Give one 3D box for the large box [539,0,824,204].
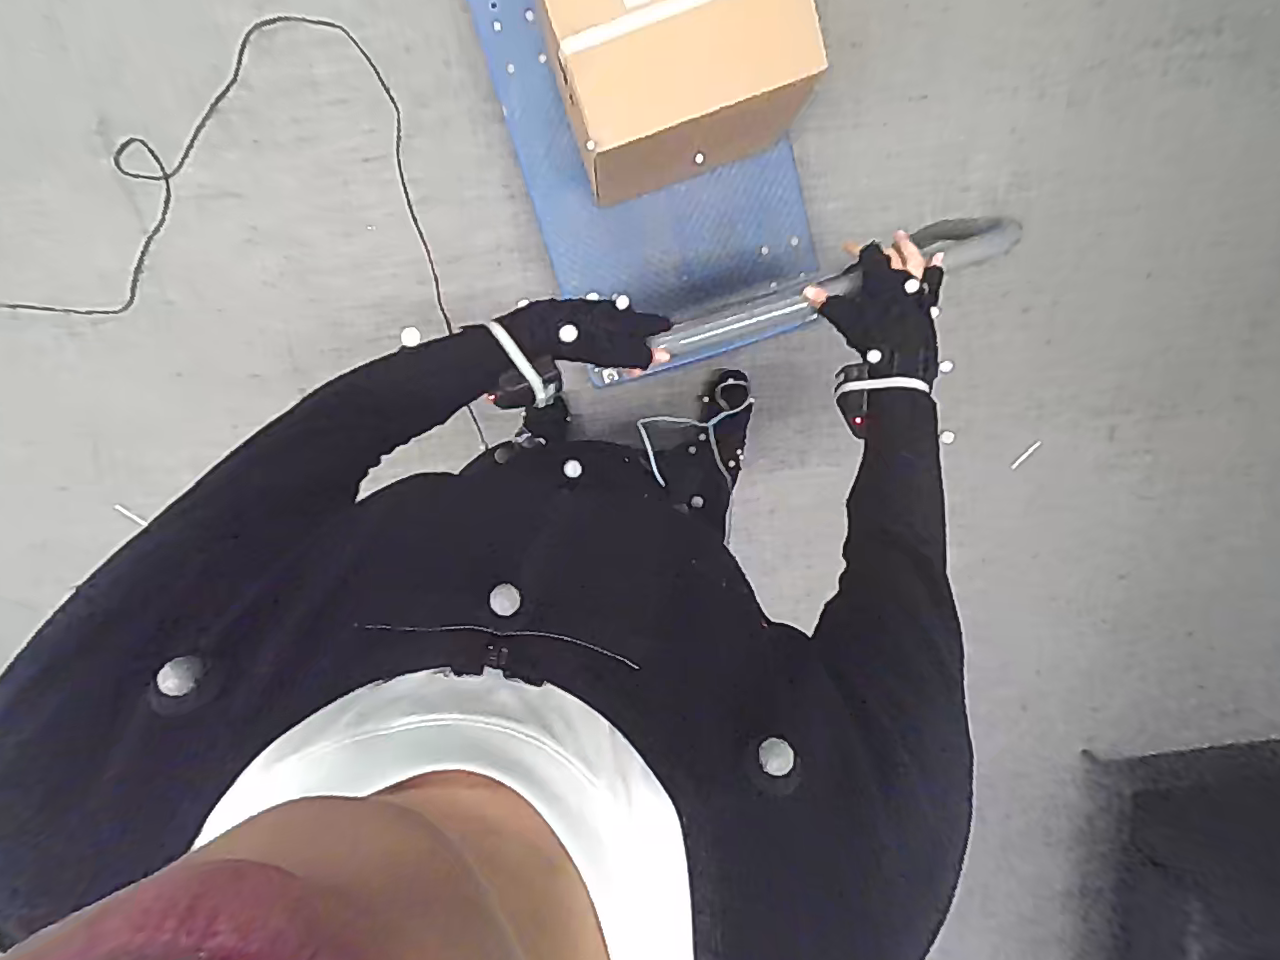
[{"bbox_3d":[0.062,-0.773,0.998,0.408,0.320,0.320,-19,100,2],"label":"large box"}]
